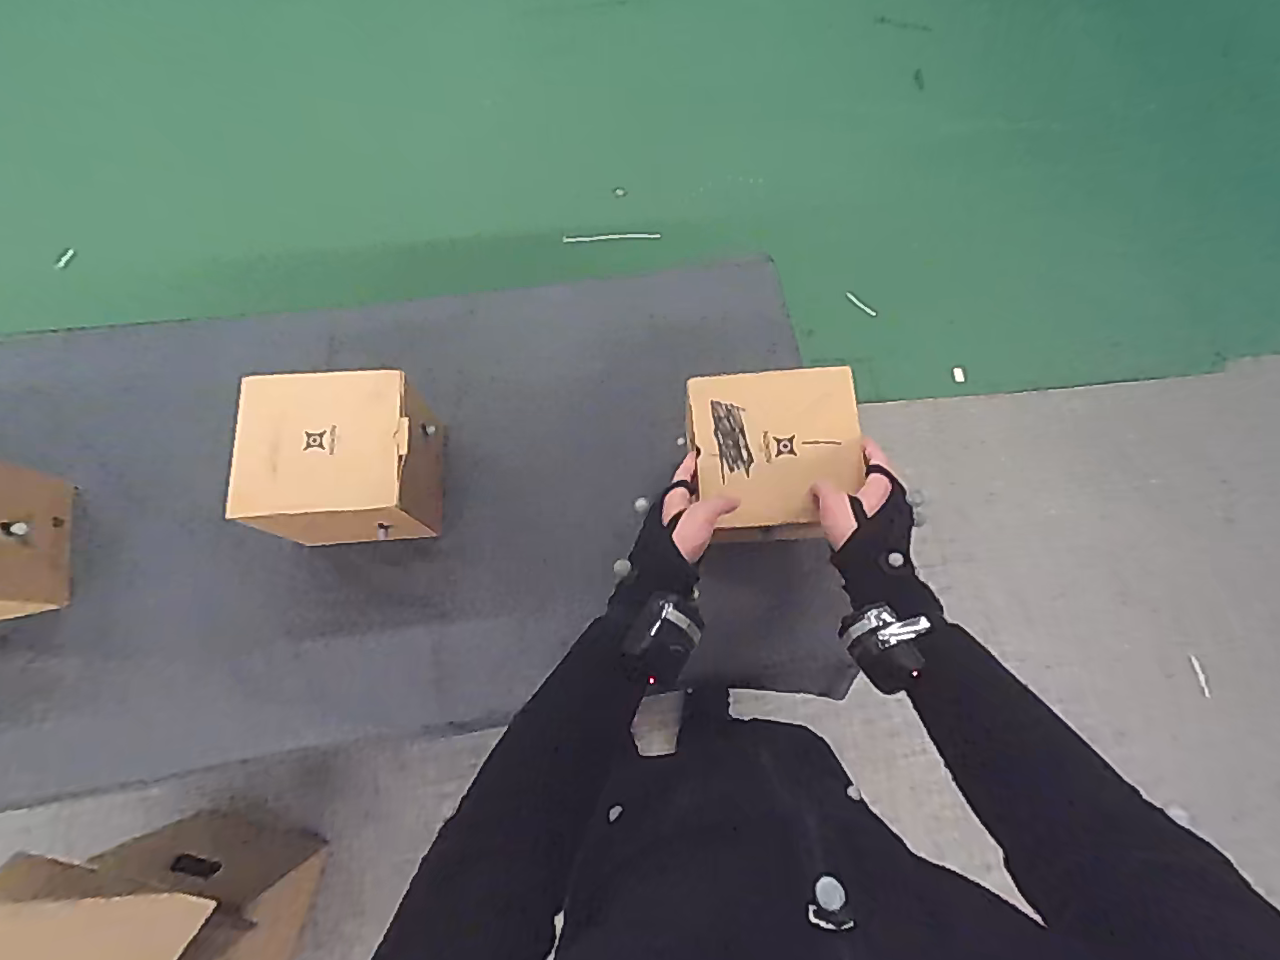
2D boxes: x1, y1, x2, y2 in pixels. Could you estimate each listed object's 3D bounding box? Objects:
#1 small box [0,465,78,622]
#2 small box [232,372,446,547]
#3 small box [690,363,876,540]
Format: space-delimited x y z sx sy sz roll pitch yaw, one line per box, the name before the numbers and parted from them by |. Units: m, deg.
small box | -0.797 0.075 0.606 0.179 0.176 0.168 -12 74 -8
small box | -0.348 -0.017 0.665 0.179 0.176 0.168 -5 72 -4
small box | 0.150 -0.022 0.634 0.179 0.176 0.168 -3 77 3
